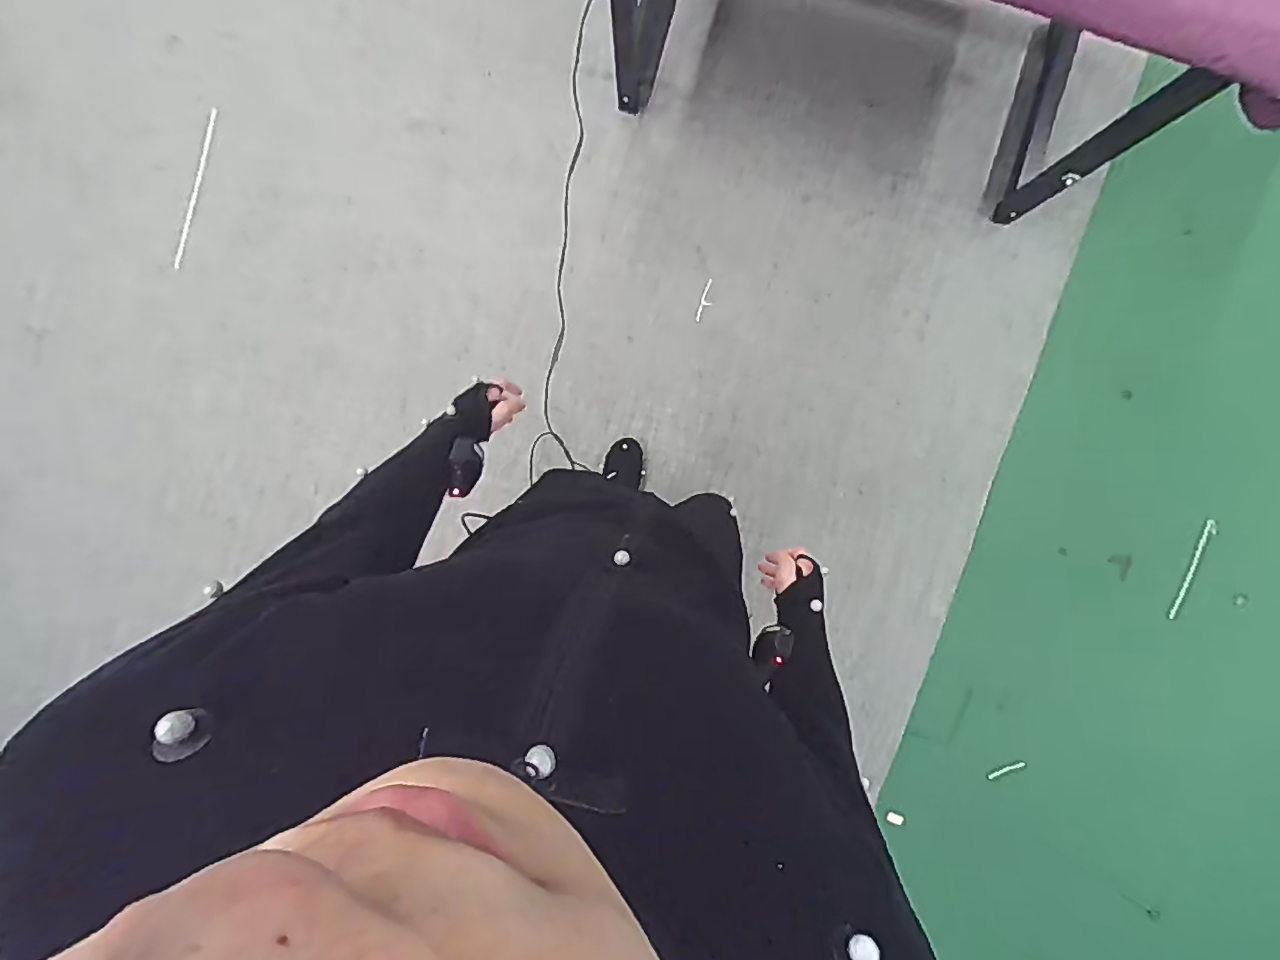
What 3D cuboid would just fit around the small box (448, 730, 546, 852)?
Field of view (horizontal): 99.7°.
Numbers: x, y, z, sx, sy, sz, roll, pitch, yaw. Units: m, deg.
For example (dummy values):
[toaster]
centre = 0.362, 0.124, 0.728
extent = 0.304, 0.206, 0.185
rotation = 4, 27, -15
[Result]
[small box]
centre = -0.356, 0.784, 1.379
extent = 0.168, 0.176, 0.179
rotation = 25, 94, -1
